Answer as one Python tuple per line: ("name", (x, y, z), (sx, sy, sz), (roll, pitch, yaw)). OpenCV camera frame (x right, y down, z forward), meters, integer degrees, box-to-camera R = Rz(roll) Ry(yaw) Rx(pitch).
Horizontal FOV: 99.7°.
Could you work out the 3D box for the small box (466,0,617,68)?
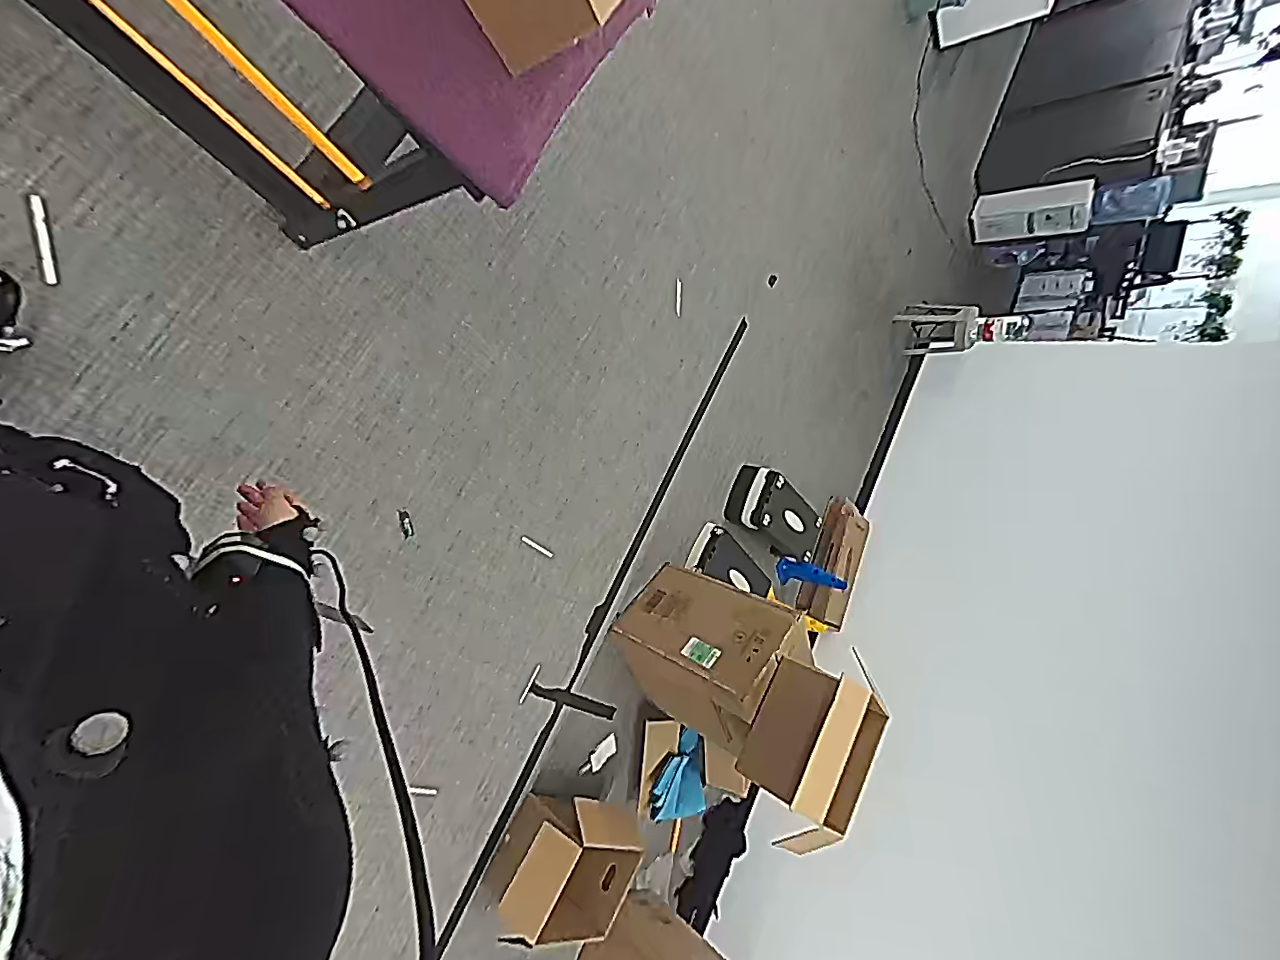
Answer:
("small box", (-0.113, -0.618, 0.604), (0.179, 0.176, 0.168), (47, 64, -44))
